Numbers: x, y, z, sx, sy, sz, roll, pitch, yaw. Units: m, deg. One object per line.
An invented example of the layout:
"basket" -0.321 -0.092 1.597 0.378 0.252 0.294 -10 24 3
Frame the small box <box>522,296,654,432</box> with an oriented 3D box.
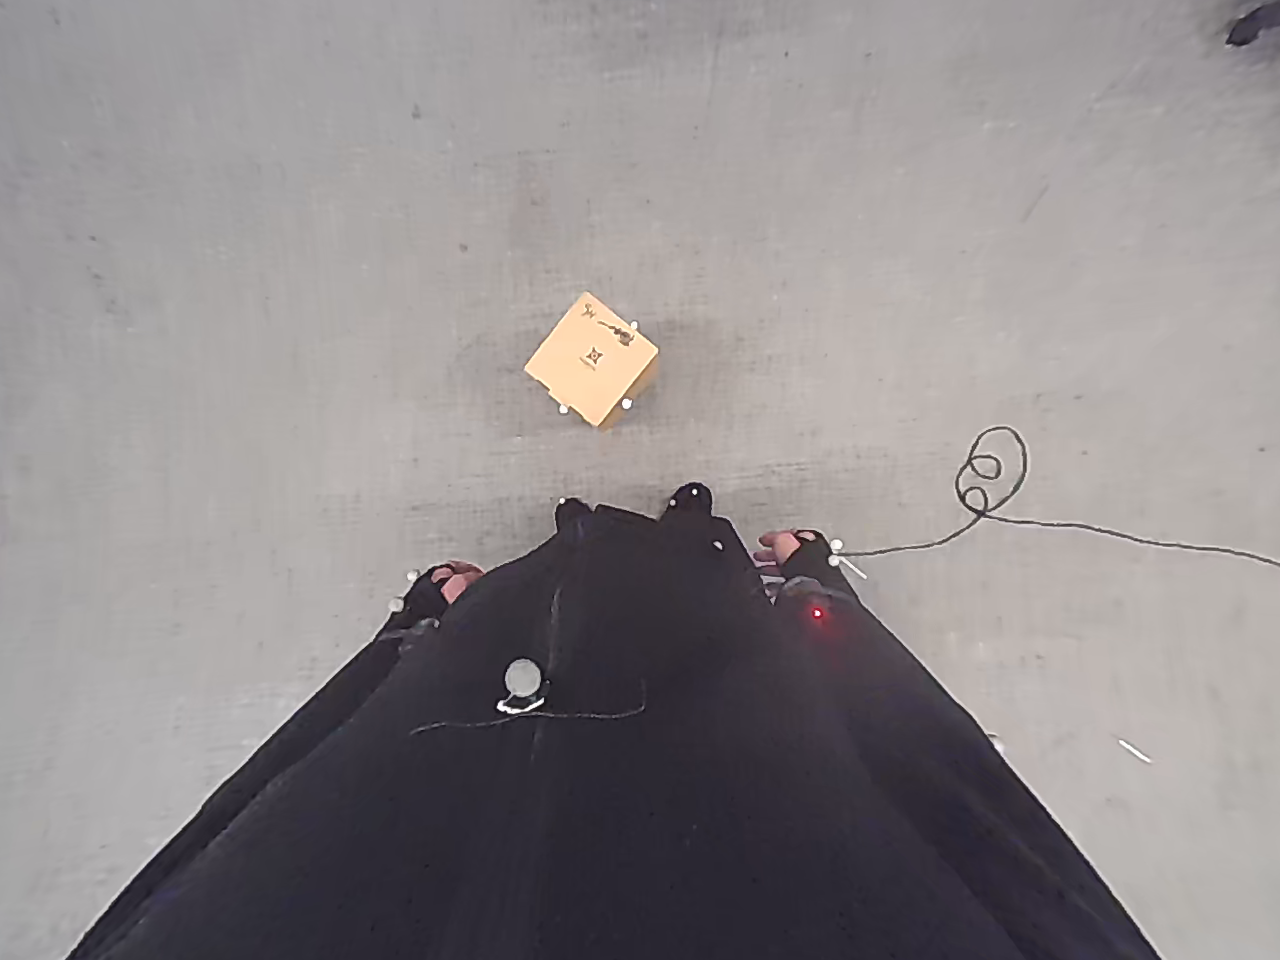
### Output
"small box" -0.087 -0.204 1.011 0.168 0.176 0.179 39 92 -1
